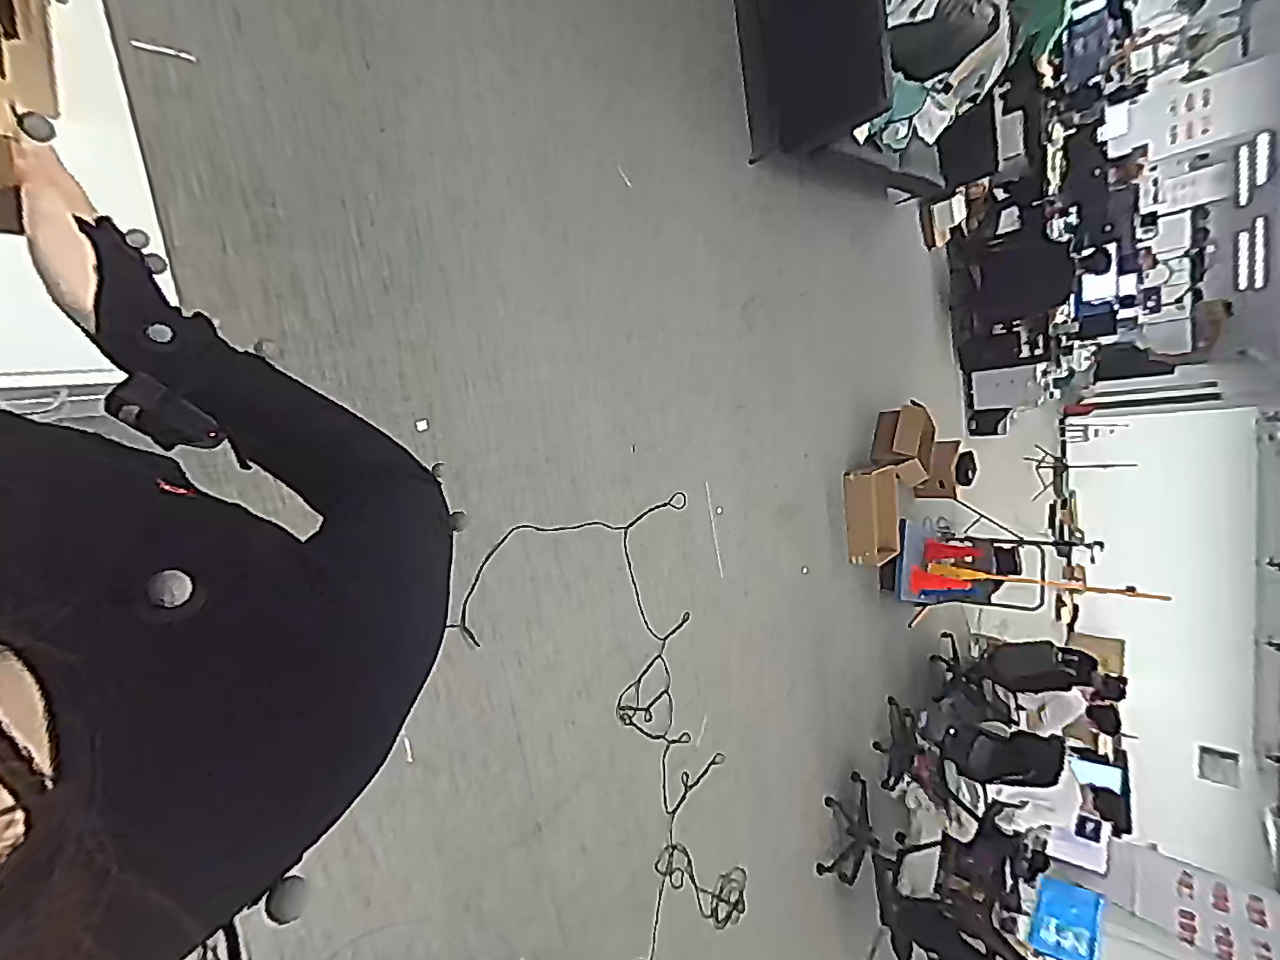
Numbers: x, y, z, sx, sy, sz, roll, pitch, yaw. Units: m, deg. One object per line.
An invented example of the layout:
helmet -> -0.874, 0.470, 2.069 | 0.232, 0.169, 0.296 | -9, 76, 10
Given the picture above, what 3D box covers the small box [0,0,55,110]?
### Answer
small box -> -0.714, -0.509, 0.530 | 0.179, 0.176, 0.168 | -6, 94, -45
